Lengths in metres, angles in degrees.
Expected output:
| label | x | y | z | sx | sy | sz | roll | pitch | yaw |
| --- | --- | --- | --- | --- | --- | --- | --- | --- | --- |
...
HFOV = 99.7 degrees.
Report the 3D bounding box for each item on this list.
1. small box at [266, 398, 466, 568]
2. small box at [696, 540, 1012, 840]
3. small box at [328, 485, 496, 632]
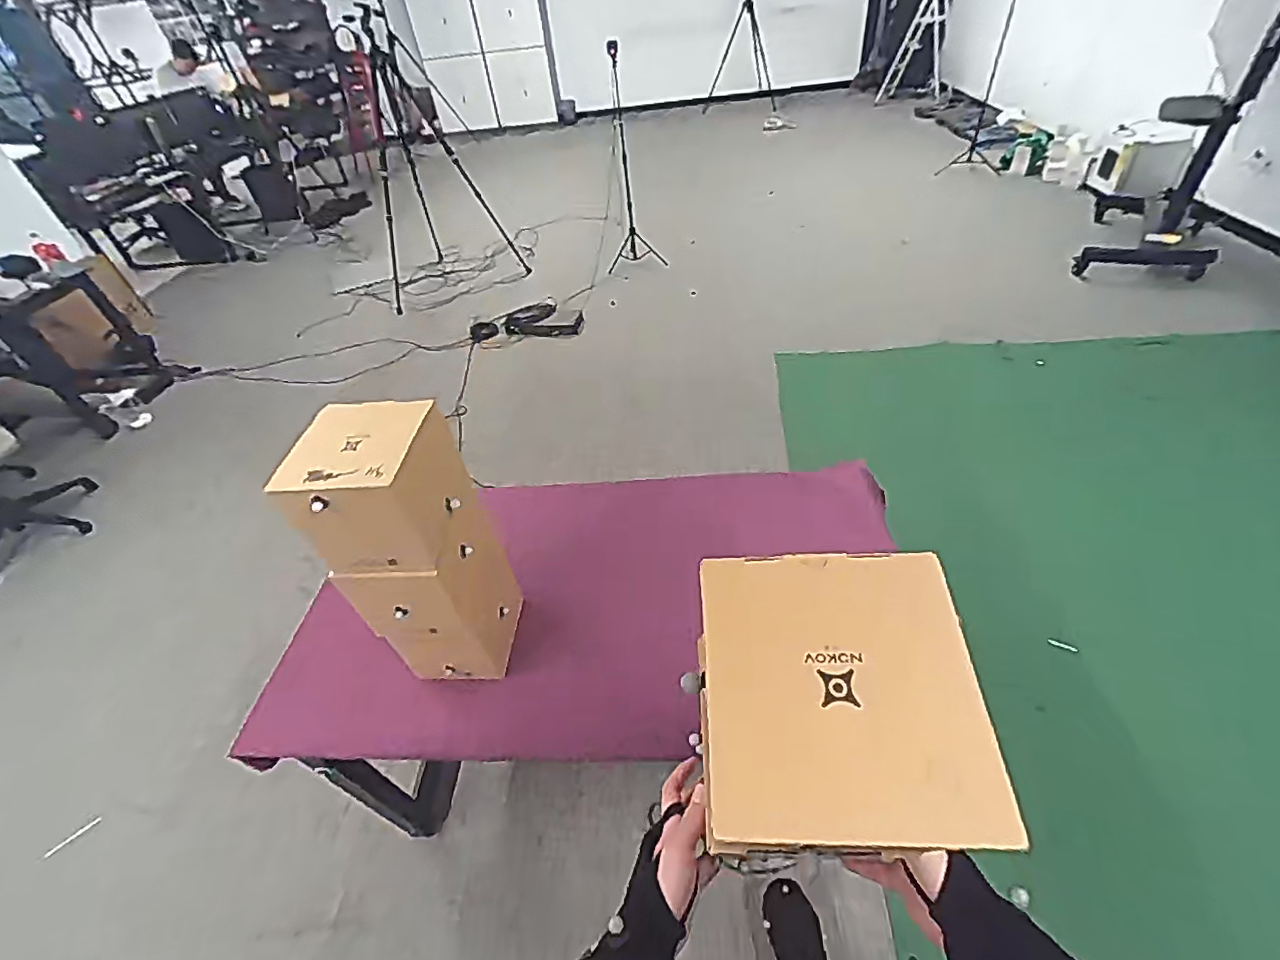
| label | x | y | z | sx | sy | sz | roll | pitch | yaw |
| --- | --- | --- | --- | --- | --- | --- | --- | --- | --- |
| small box | -0.362 | 0.005 | 0.760 | 0.168 | 0.176 | 0.179 | -3 | 44 | 6 |
| small box | 0.131 | 0.162 | 0.405 | 0.168 | 0.176 | 0.179 | -3 | 54 | 7 |
| small box | -0.347 | 0.128 | 0.868 | 0.168 | 0.176 | 0.179 | -1 | 44 | 7 |
